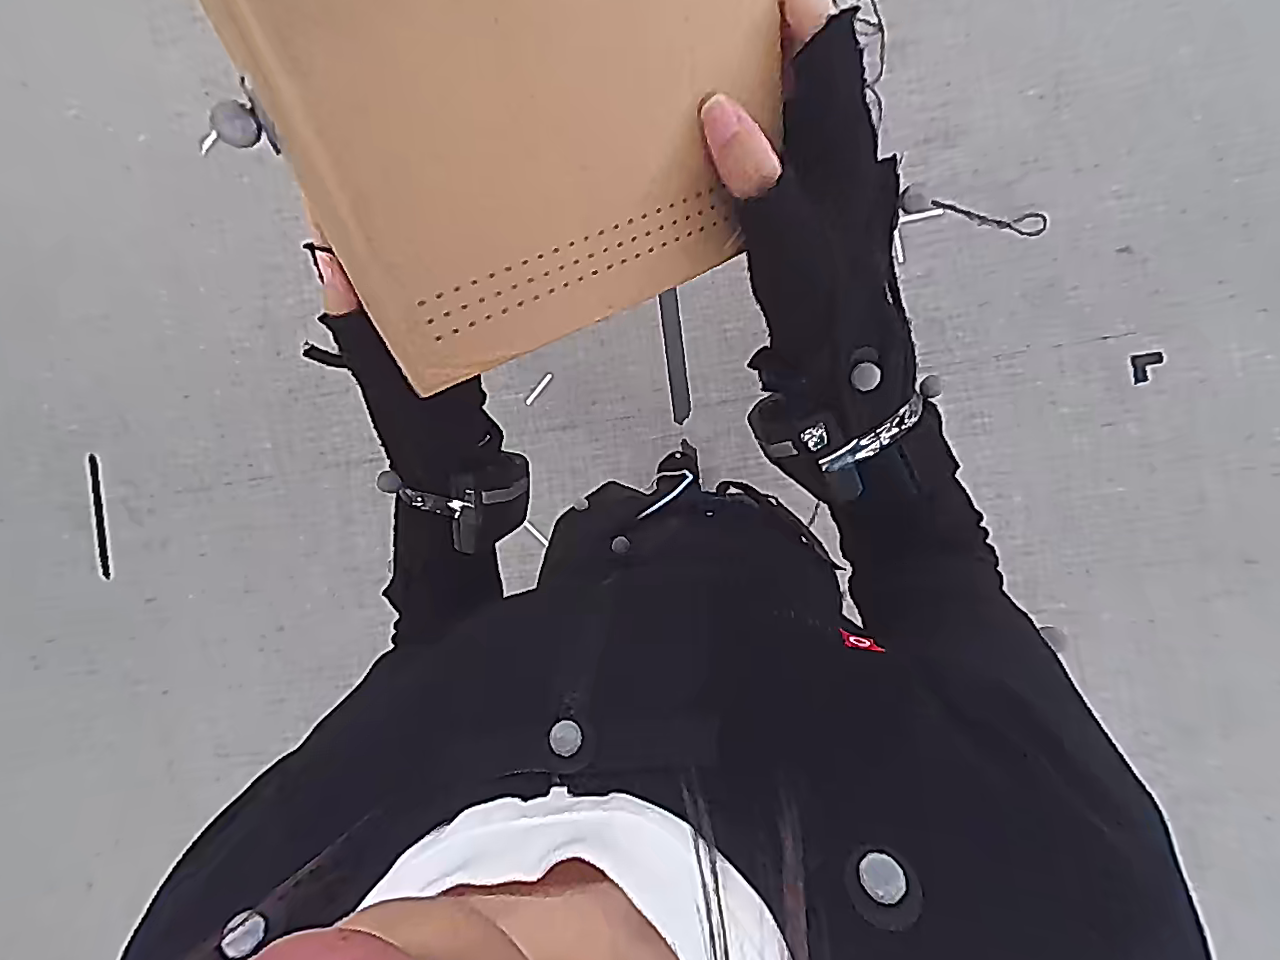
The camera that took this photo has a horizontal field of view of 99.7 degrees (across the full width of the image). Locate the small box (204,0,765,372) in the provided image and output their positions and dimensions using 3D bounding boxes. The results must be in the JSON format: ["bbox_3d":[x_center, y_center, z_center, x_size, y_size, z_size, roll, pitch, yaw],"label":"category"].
[{"bbox_3d":[-0.063,-0.170,0.232,0.179,0.176,0.168,-28,42,-15],"label":"small box"}]
